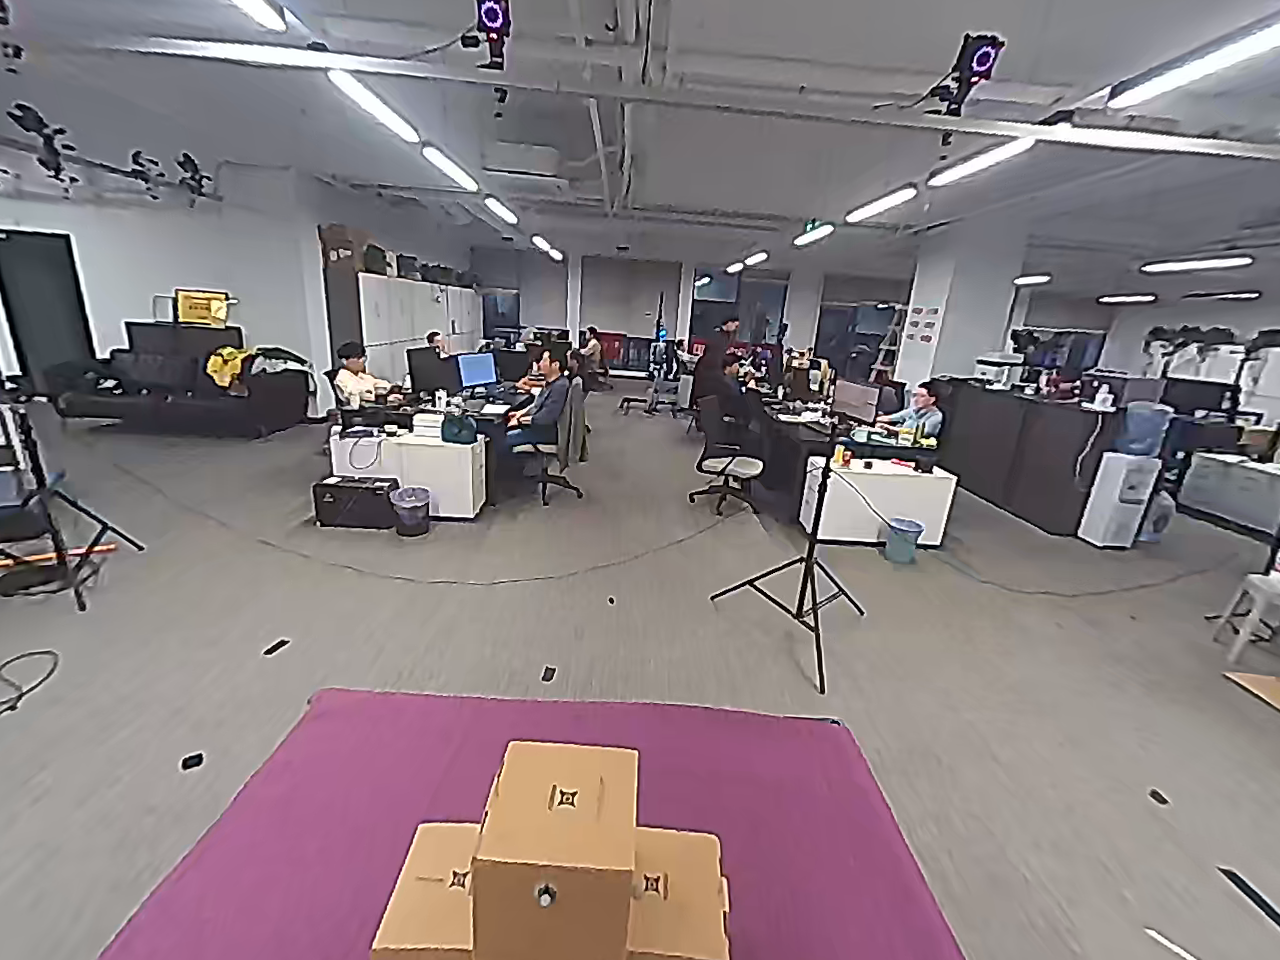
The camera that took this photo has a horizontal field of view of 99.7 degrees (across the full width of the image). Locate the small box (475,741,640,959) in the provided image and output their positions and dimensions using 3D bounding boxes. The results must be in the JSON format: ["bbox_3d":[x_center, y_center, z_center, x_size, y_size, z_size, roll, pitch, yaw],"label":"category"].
[{"bbox_3d":[-0.093,0.456,0.668,0.179,0.176,0.168,5,18,-1],"label":"small box"}]

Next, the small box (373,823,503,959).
[{"bbox_3d":[-0.228,0.599,0.724,0.179,0.176,0.168,2,16,-3],"label":"small box"}]

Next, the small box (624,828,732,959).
[{"bbox_3d":[0.022,0.616,0.735,0.179,0.176,0.168,4,16,3],"label":"small box"}]
